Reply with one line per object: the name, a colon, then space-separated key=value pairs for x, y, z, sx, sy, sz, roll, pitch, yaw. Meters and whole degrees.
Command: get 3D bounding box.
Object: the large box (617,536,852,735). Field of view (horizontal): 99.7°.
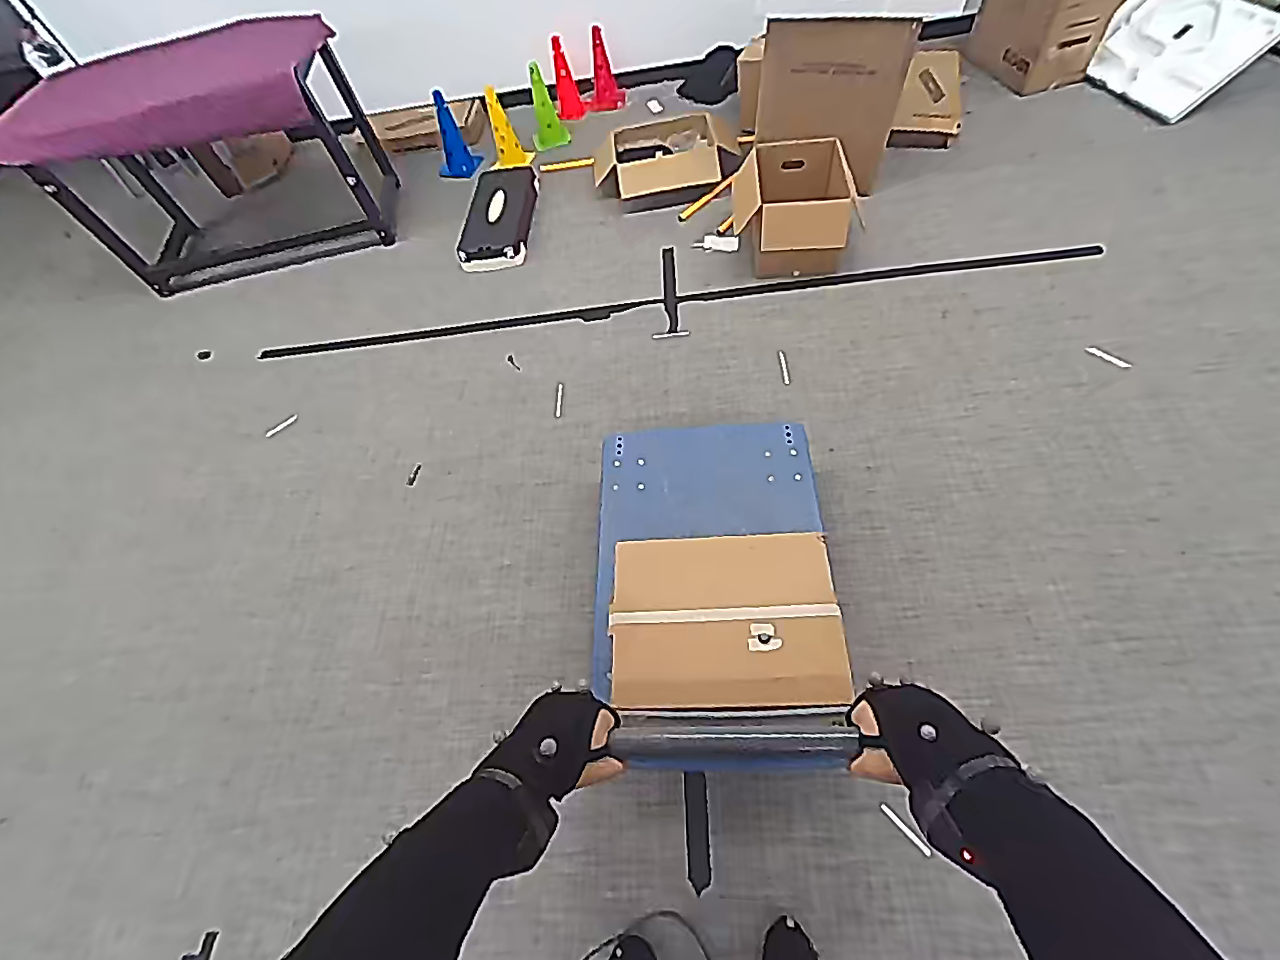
large box: x=0.170 y=0.333 z=1.116 sx=0.408 sy=0.320 sz=0.320 roll=-4 pitch=59 yaw=5
